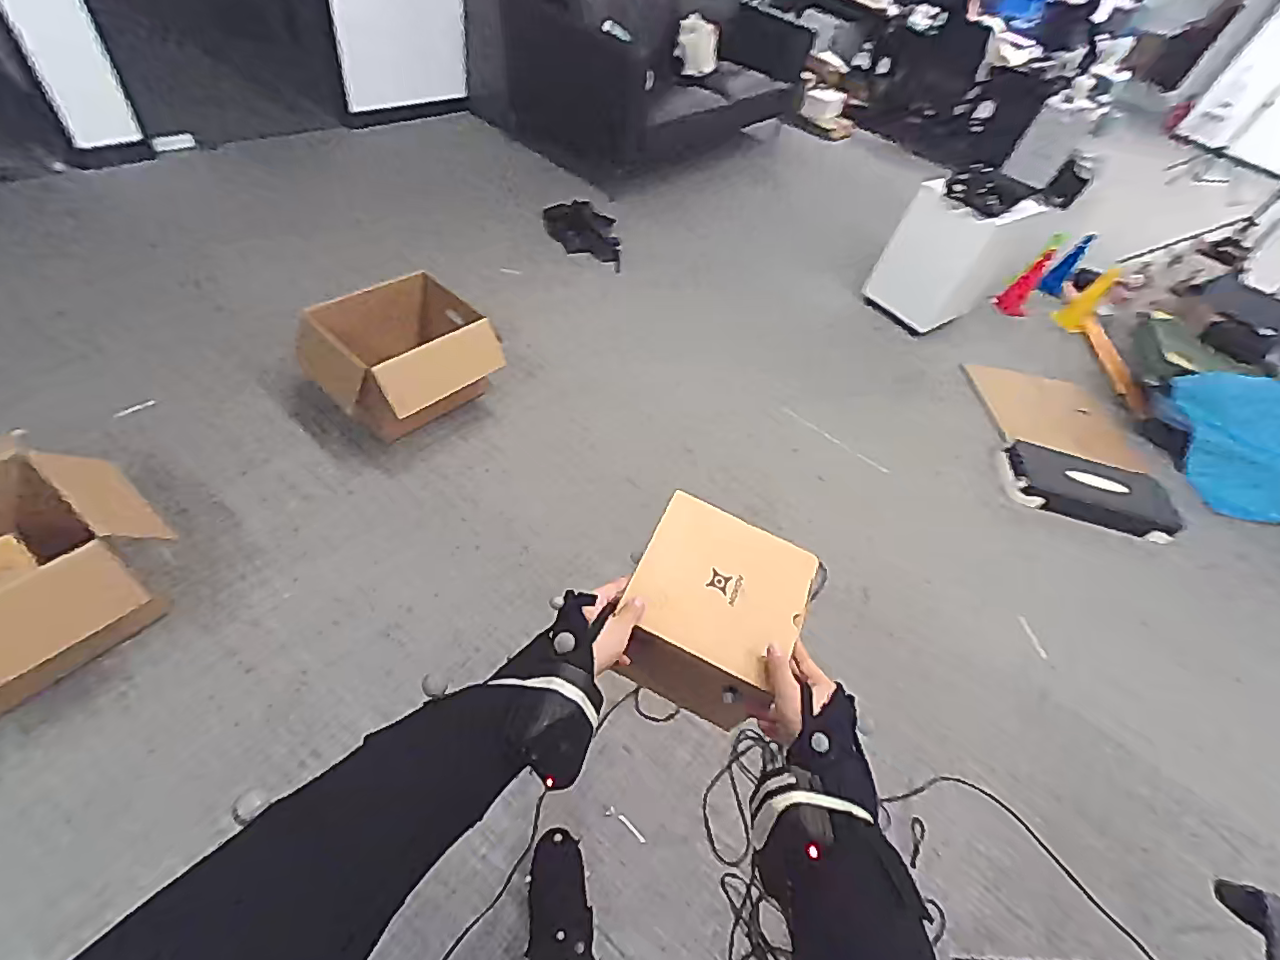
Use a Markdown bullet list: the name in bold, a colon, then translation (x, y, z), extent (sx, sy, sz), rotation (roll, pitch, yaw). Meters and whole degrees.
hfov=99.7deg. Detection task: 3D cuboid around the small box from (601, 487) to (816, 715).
- **small box**: translation (0.069, 0.144, 0.616), extent (0.179, 0.176, 0.168), rotation (25, 56, 5)
